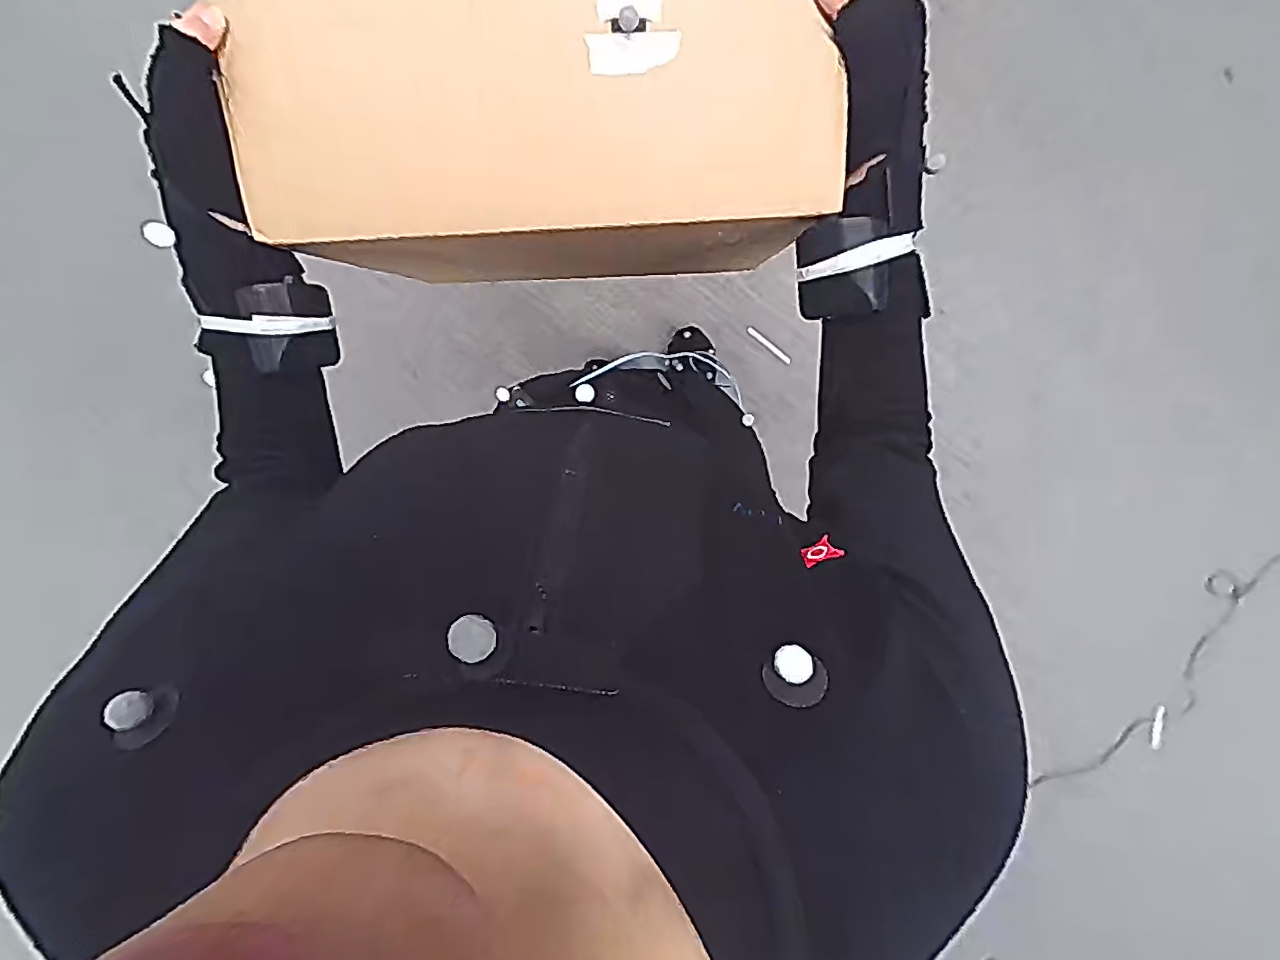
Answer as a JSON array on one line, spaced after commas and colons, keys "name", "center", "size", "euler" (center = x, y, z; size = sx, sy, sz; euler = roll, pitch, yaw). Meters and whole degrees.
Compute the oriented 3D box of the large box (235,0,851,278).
[{"name": "large box", "center": [-0.063, -0.368, 0.486], "size": [0.408, 0.320, 0.320], "euler": [-1, 106, 1]}]
